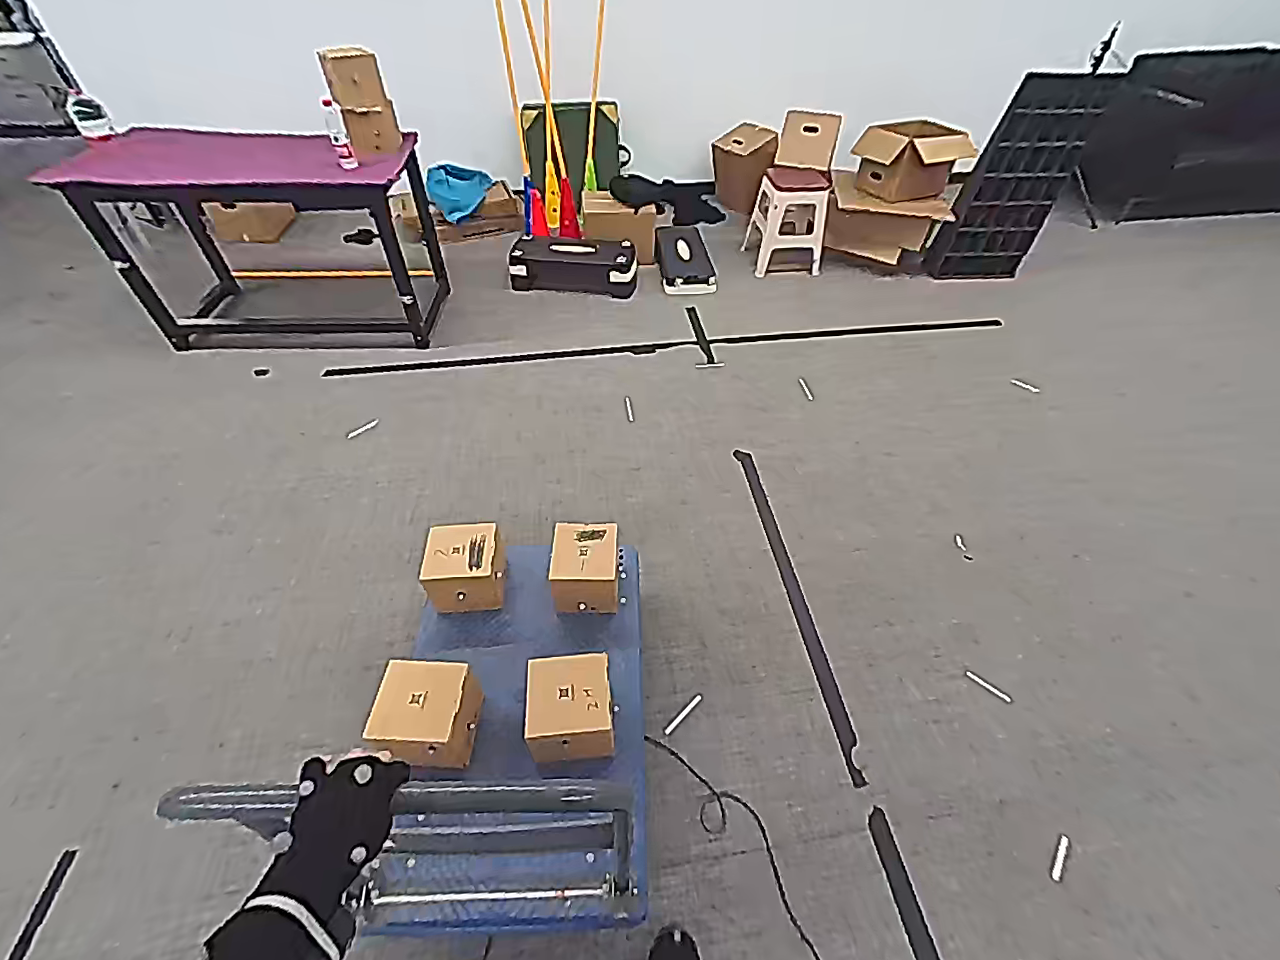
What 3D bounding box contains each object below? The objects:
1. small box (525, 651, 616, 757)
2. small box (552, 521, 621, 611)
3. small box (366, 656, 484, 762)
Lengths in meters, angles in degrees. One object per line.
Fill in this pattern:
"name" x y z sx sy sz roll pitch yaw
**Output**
"small box" -0.147 0.495 1.189 0.179 0.176 0.168 -3 48 -4
"small box" -0.135 0.228 1.436 0.168 0.176 0.179 1 48 0
"small box" -0.456 0.502 1.179 0.179 0.176 0.168 3 47 0
